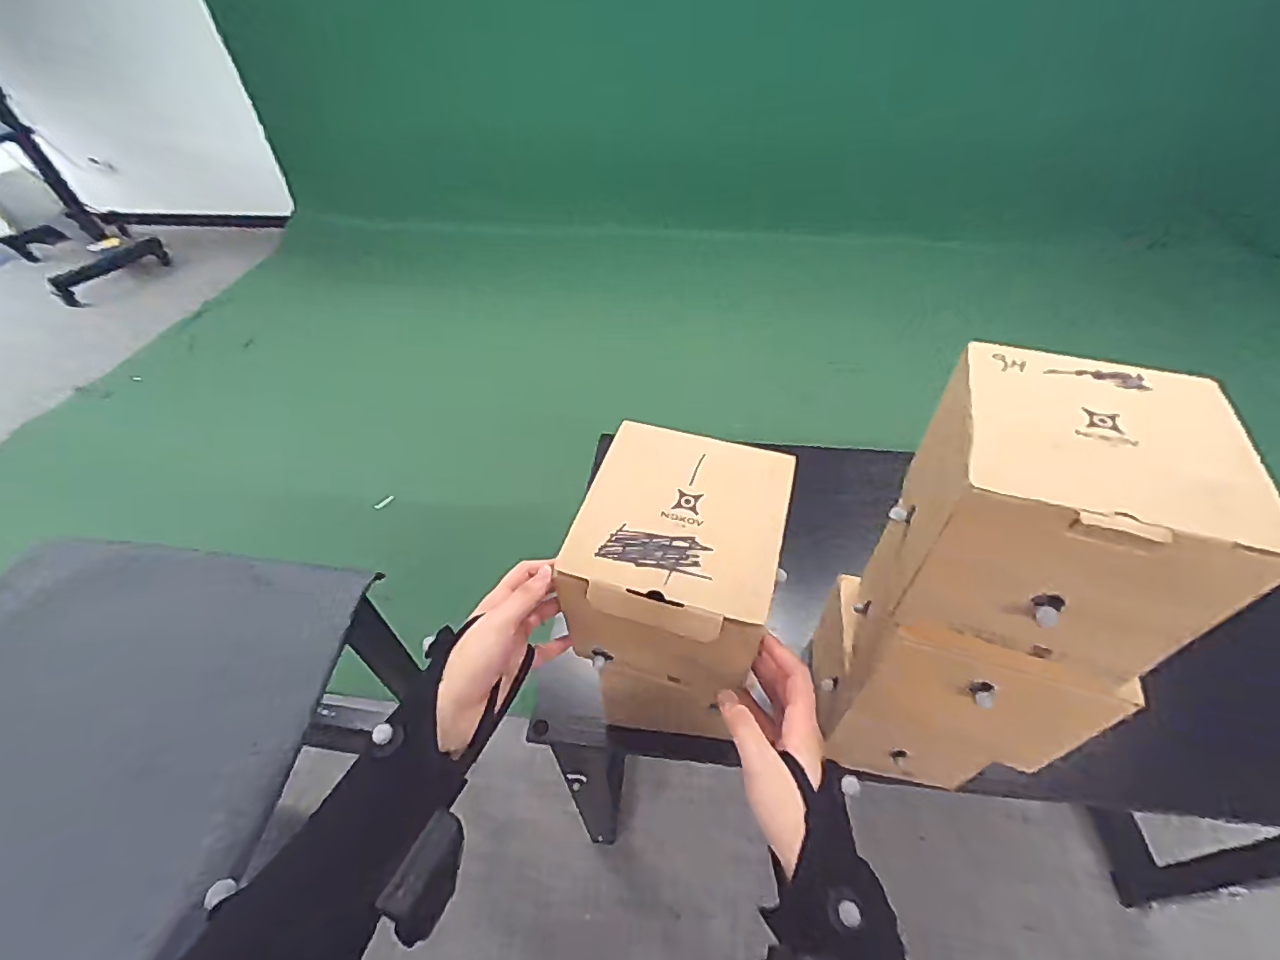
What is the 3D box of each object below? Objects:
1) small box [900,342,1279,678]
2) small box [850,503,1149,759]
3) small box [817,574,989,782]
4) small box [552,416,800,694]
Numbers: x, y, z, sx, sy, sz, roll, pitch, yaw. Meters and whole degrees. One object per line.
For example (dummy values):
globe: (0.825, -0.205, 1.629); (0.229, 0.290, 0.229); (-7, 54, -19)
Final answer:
small box: (0.314, 0.023, 0.418); (0.168, 0.176, 0.179); (15, 50, 17)
small box: (0.322, 0.146, 0.526); (0.179, 0.176, 0.168); (13, 49, 14)
small box: (0.317, 0.243, 0.658); (0.168, 0.176, 0.179); (7, 47, 9)
small box: (0.038, 0.073, 0.499); (0.168, 0.176, 0.179); (13, 53, 12)
